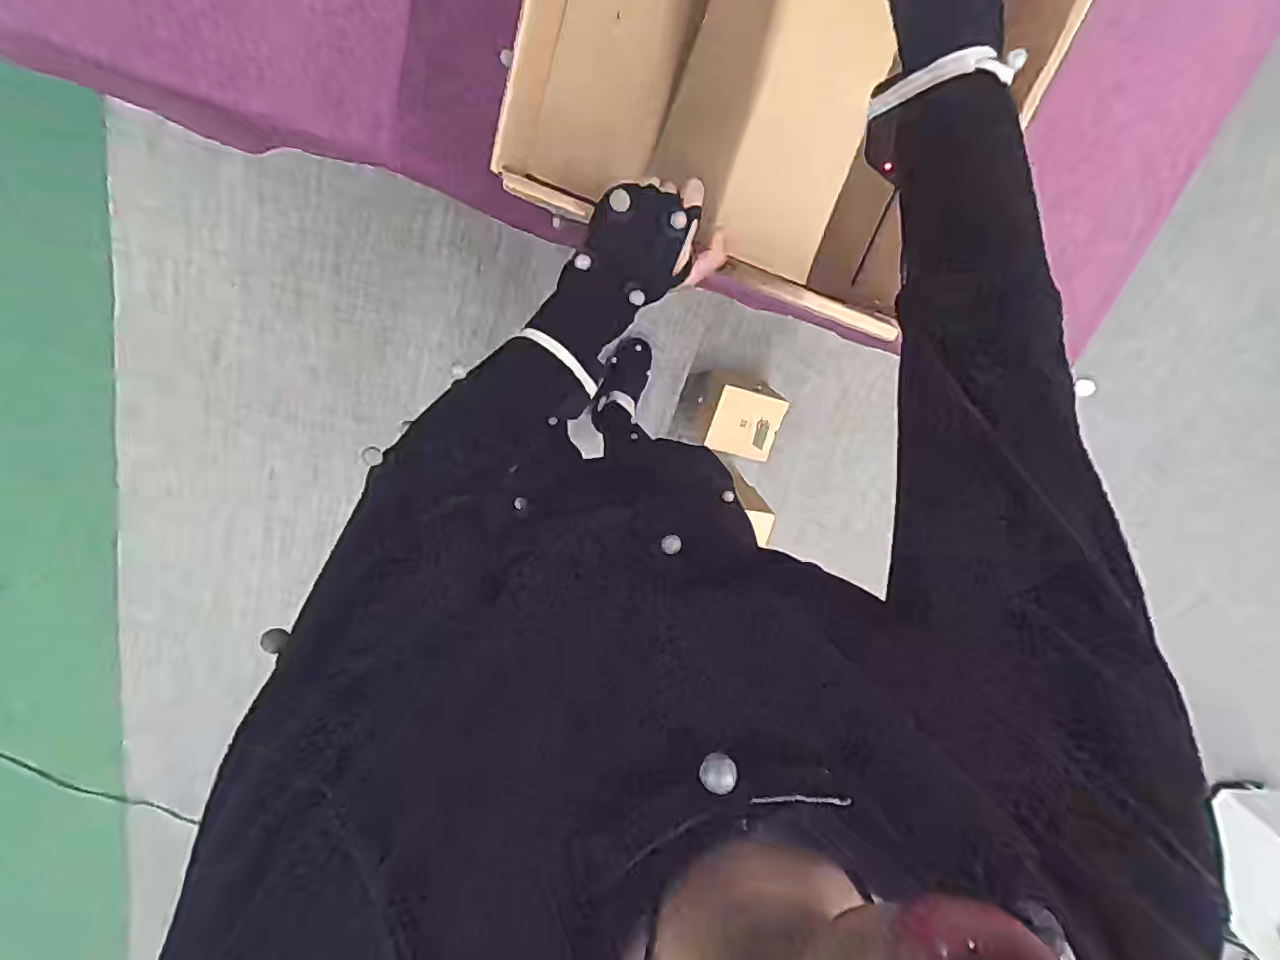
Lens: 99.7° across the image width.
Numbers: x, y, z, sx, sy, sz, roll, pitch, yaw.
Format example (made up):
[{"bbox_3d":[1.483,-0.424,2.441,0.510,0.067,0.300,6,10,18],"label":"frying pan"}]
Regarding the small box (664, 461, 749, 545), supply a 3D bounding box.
[{"bbox_3d":[0.175,0.058,1.498,0.179,0.176,0.168,10,112,-12],"label":"small box"}]
